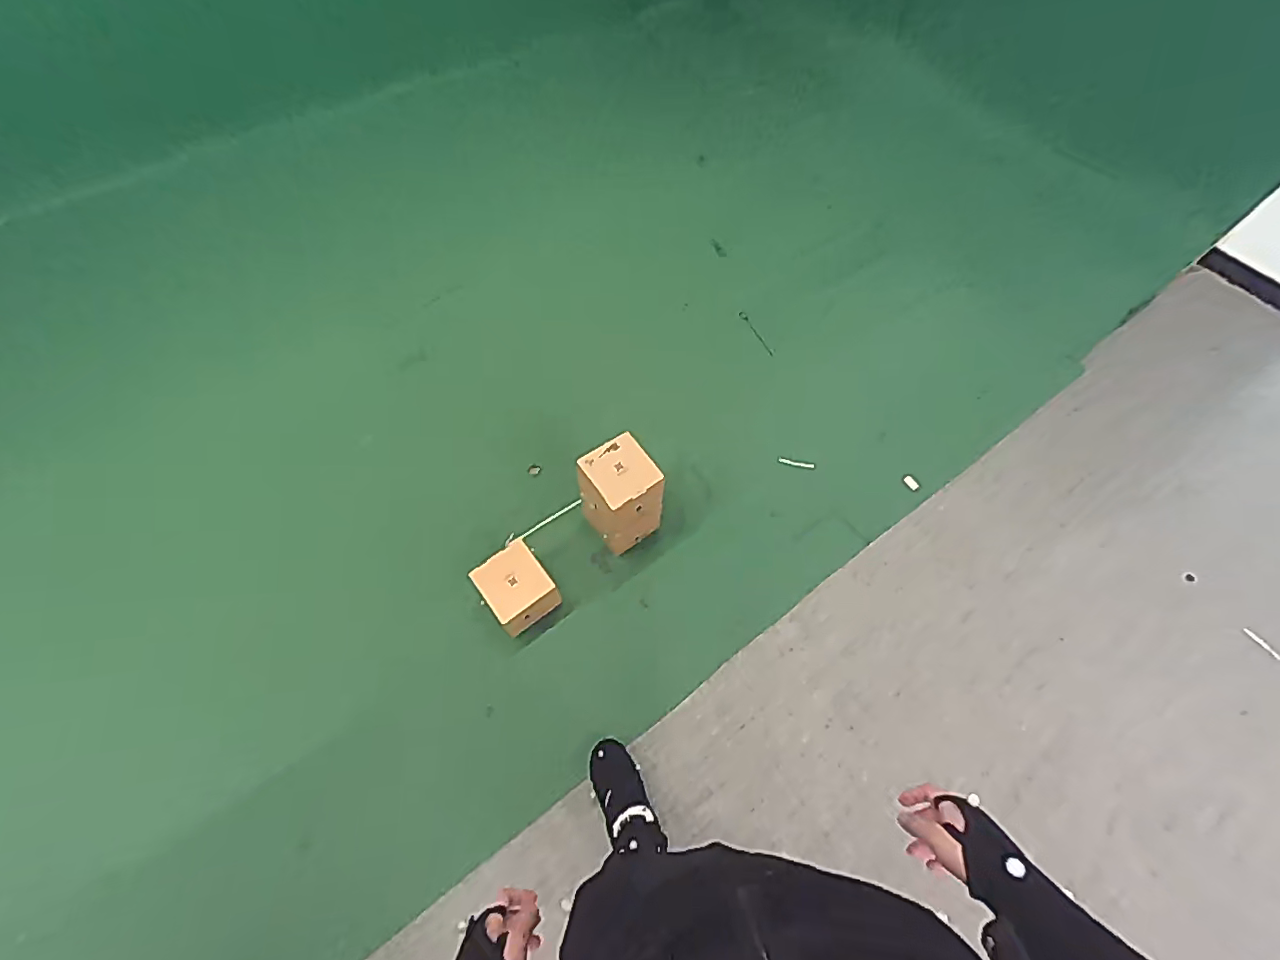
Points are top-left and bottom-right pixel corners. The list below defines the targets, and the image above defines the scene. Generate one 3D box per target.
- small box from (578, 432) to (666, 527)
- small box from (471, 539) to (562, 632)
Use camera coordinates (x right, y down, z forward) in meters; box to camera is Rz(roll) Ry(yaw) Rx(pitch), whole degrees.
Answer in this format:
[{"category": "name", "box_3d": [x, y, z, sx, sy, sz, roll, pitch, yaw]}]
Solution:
[{"category": "small box", "box_3d": [-0.049, 0.008, 1.459, 0.168, 0.176, 0.179, -31, 69, -17]}, {"category": "small box", "box_3d": [-0.332, 0.298, 1.487, 0.168, 0.176, 0.179, -35, 68, -18]}]
